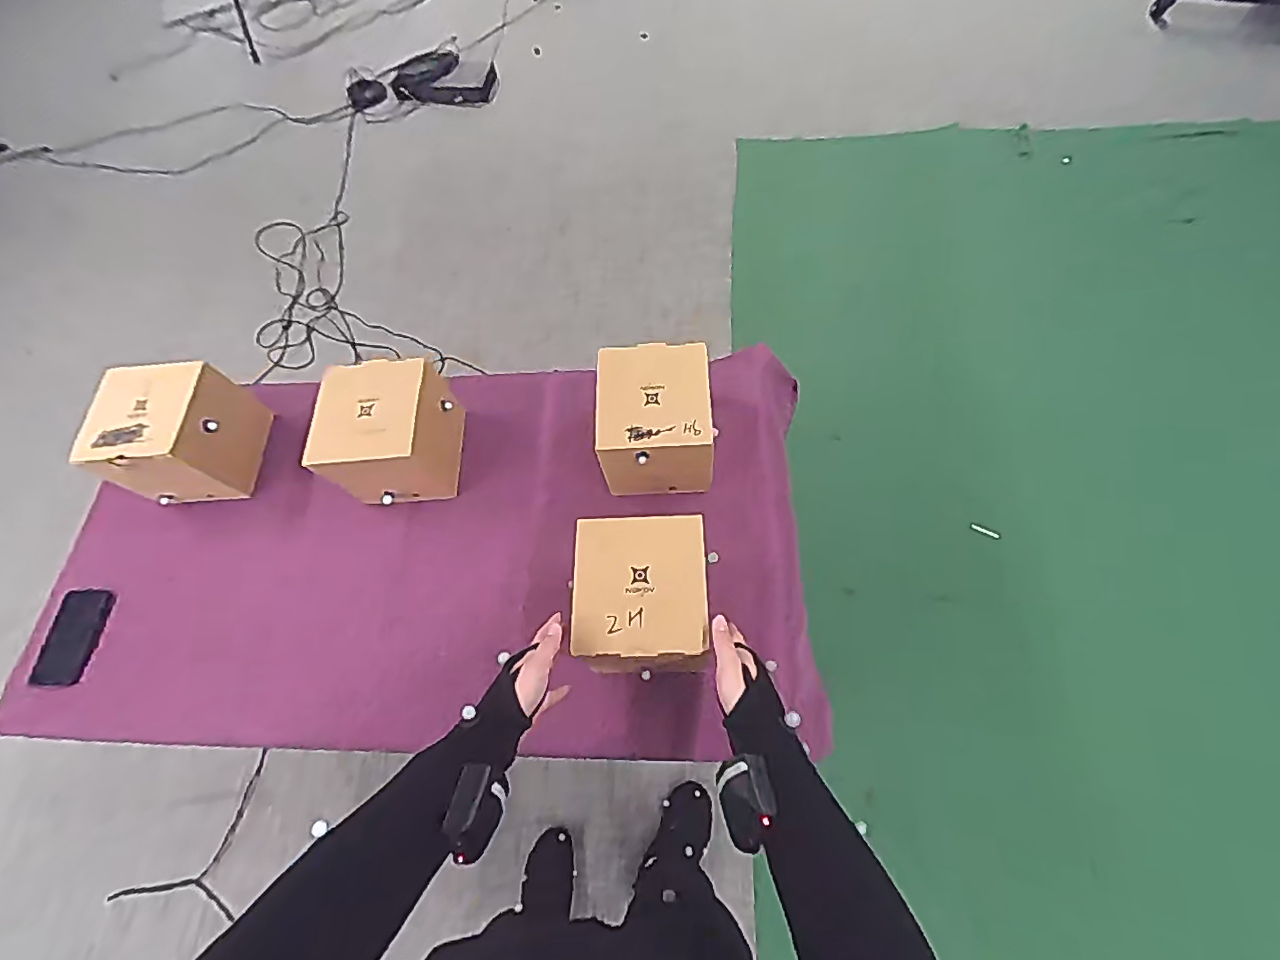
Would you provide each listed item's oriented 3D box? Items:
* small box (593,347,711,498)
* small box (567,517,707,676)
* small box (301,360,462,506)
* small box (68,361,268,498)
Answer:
[{"bbox_3d":[0.023,-0.085,0.850,0.168,0.176,0.179,-2,64,5],"label":"small box"},{"bbox_3d":[0.004,0.162,0.732,0.168,0.176,0.179,-2,64,6],"label":"small box"},{"bbox_3d":[-0.404,-0.071,0.881,0.168,0.176,0.179,-4,65,4],"label":"small box"},{"bbox_3d":[-0.774,-0.076,0.912,0.168,0.176,0.179,-3,64,3],"label":"small box"}]
